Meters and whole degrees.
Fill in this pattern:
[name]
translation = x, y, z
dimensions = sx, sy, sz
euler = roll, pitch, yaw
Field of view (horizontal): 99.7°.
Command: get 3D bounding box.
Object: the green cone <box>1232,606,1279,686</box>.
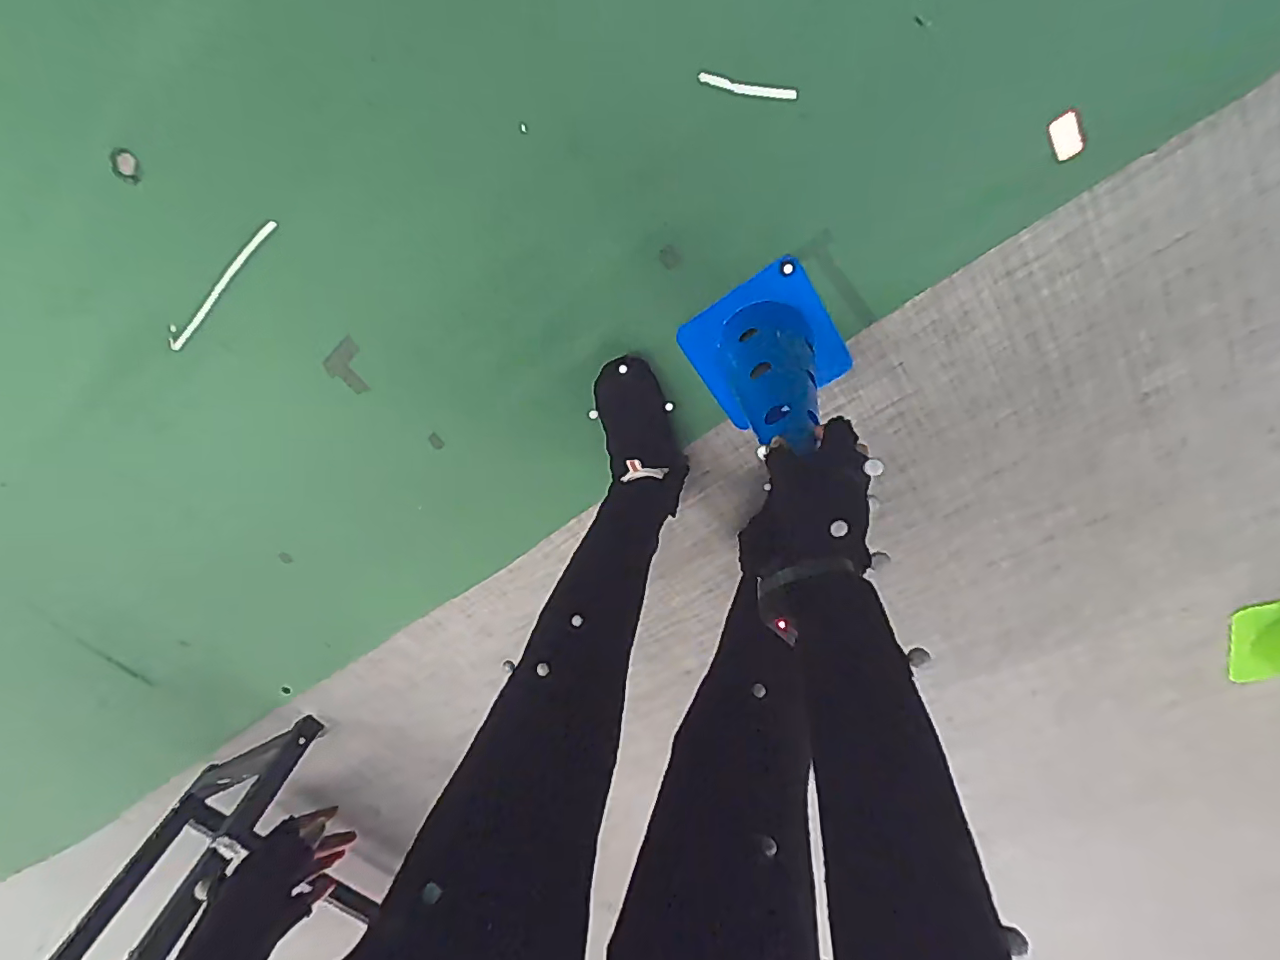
[green cone]
translation = 1.144, 0.367, 0.804
dimensions = 0.200, 0.368, 0.202
euler = -21, 116, 19
